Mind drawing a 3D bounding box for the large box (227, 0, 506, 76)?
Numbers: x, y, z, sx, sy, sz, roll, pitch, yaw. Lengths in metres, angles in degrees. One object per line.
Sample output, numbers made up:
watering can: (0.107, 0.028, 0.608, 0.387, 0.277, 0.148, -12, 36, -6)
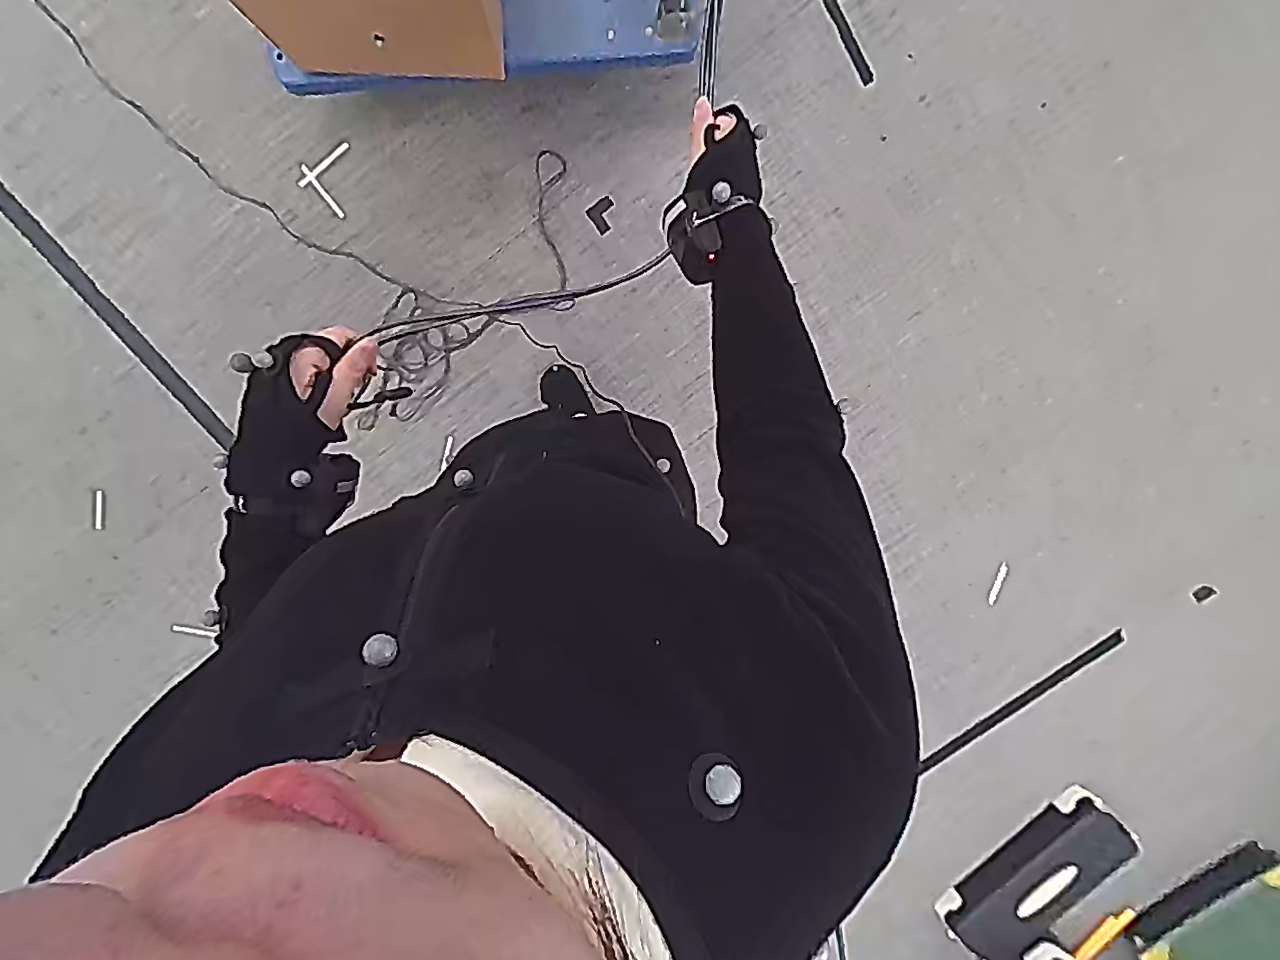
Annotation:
large box: (-0.464, -0.931, 0.917, 0.408, 0.320, 0.320, -2, 102, -4)
